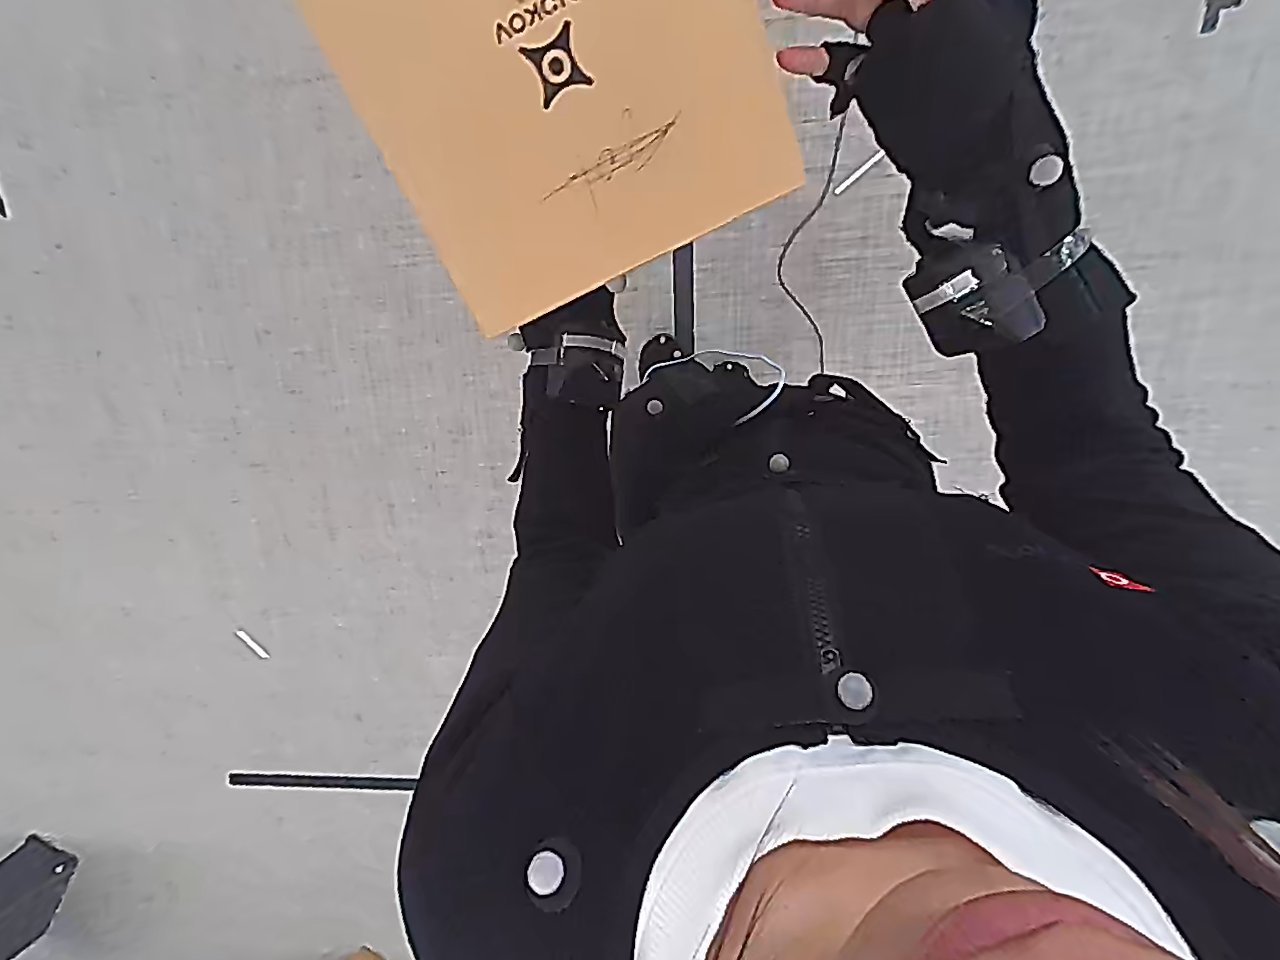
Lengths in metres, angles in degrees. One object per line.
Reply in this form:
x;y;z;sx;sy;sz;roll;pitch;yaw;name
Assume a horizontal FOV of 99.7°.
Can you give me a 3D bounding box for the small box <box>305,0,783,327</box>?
-0.042;-0.210;0.307;0.168;0.176;0.179;-23;113;9;small box
